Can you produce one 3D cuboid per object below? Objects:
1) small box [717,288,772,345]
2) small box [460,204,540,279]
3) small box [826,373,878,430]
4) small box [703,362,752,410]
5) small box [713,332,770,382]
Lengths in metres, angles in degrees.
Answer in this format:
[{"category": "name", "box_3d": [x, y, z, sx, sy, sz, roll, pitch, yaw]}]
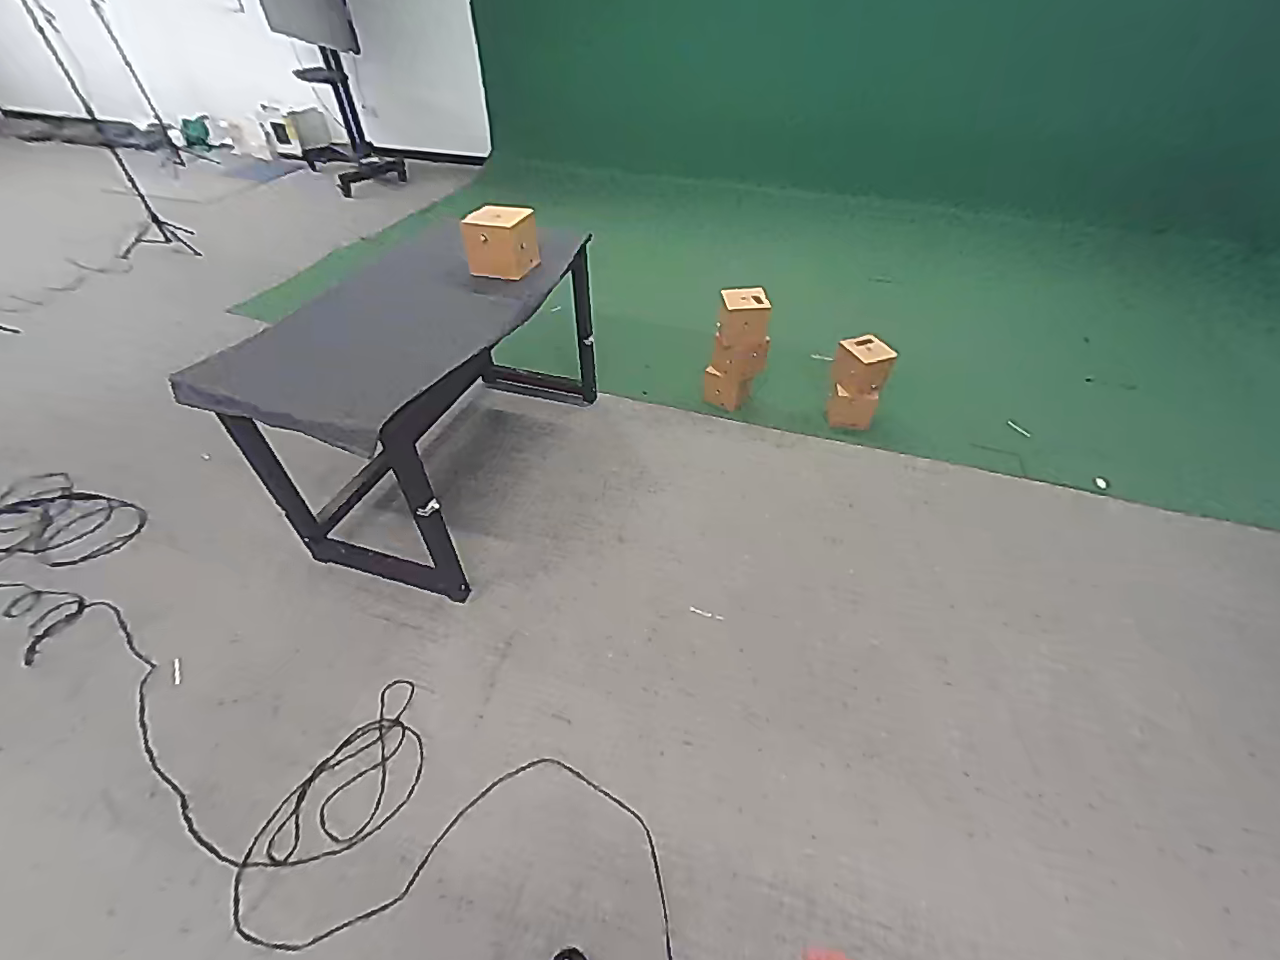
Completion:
[{"category": "small box", "box_3d": [0.422, -0.667, 2.214, 0.179, 0.176, 0.168, -3, 46, -3]}, {"category": "small box", "box_3d": [-0.439, -0.763, 1.733, 0.179, 0.176, 0.168, 12, 46, 14]}, {"category": "small box", "box_3d": [0.916, -0.341, 2.355, 0.168, 0.176, 0.179, 7, 44, 6]}, {"category": "small box", "box_3d": [0.400, -0.445, 2.454, 0.168, 0.176, 0.179, 27, 50, 23]}, {"category": "small box", "box_3d": [0.429, -0.548, 2.328, 0.179, 0.176, 0.168, -25, 52, -24]}]
